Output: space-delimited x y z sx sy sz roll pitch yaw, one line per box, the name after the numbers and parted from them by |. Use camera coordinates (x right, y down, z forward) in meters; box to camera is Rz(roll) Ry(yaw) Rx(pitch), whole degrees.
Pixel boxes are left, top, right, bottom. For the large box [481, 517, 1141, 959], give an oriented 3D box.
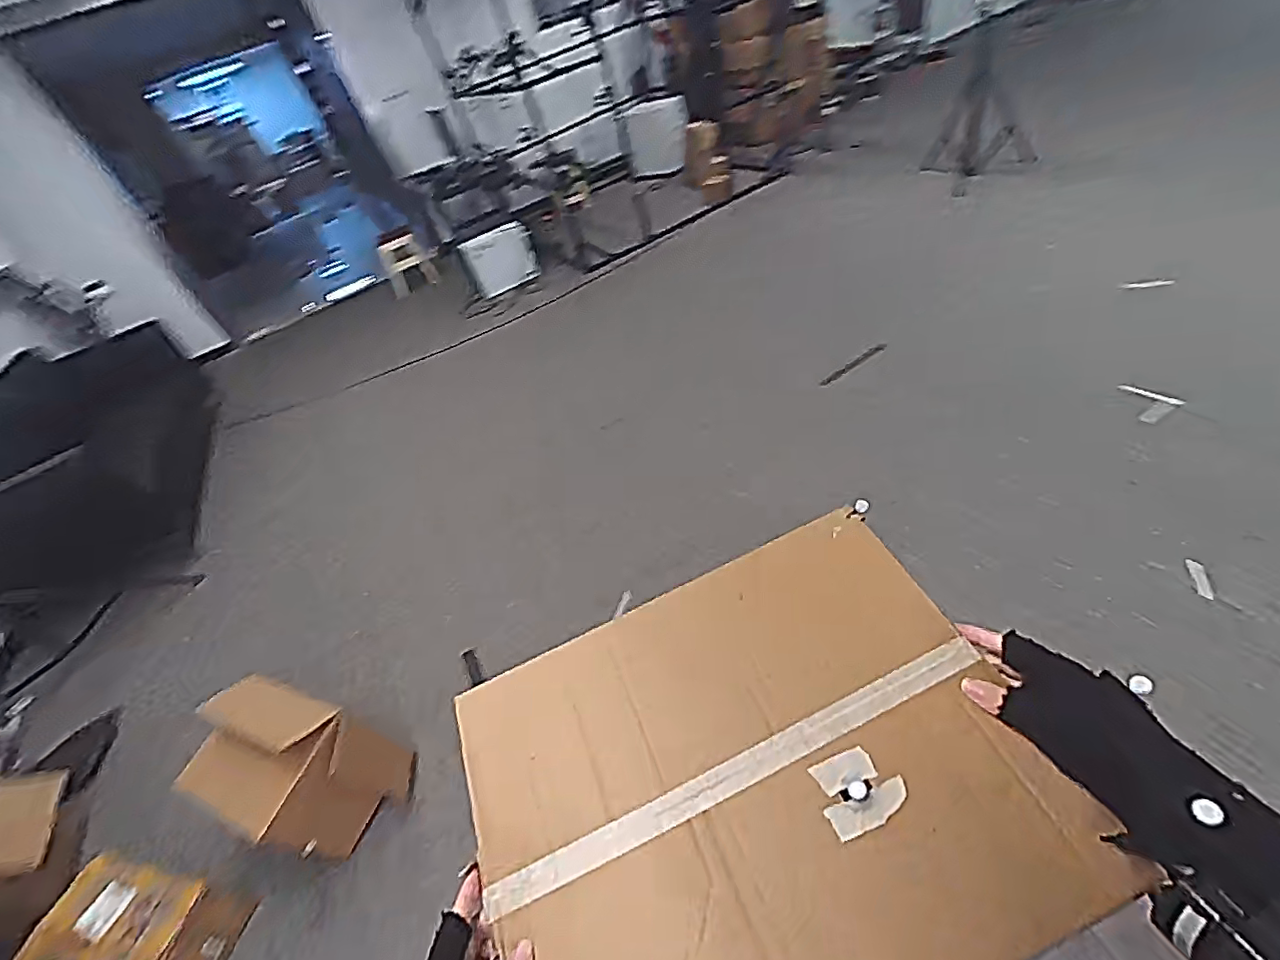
0.116 0.311 0.533 0.408 0.320 0.320 -25 52 -4 | large box
